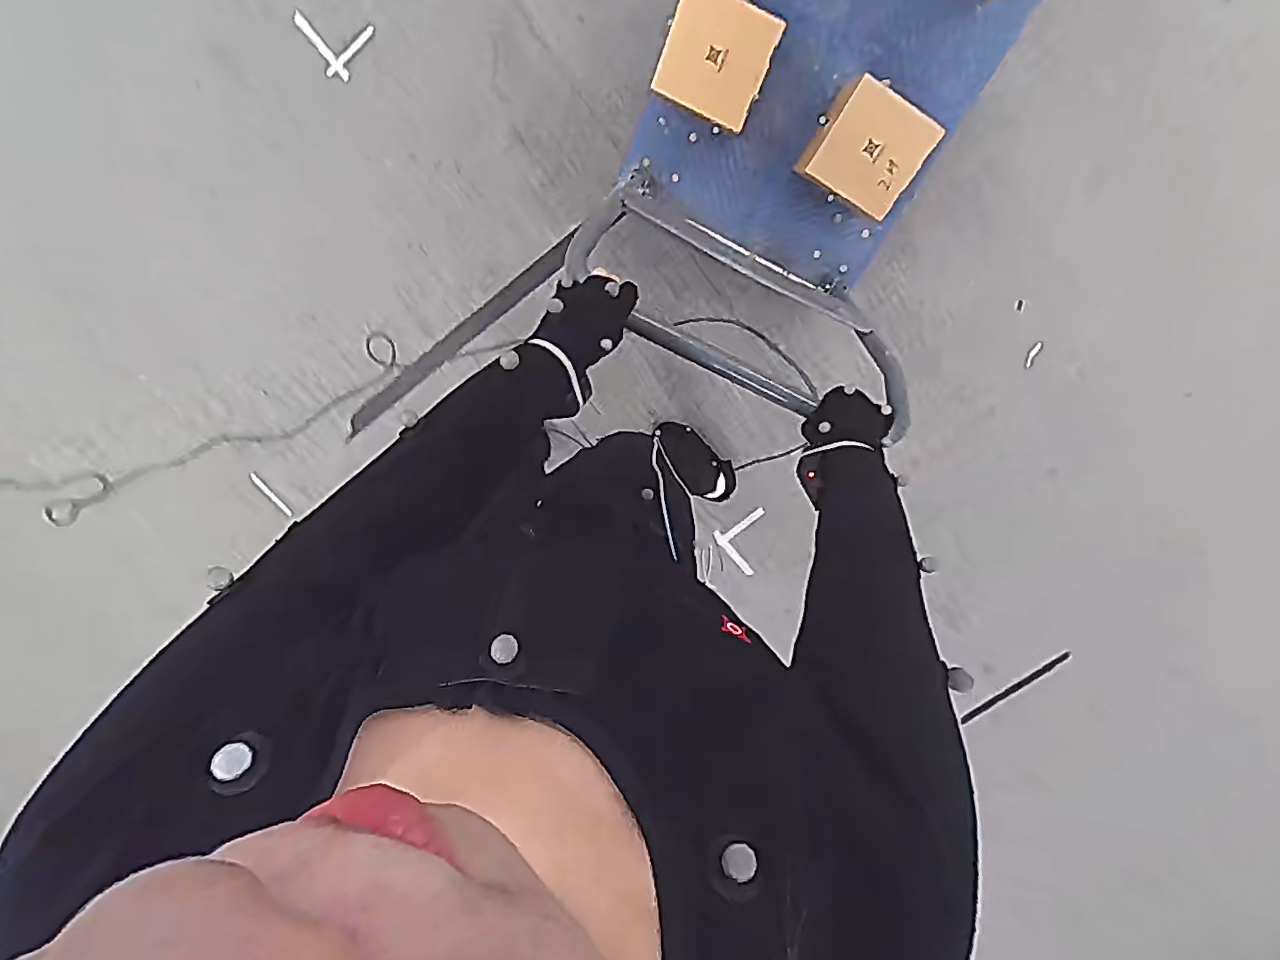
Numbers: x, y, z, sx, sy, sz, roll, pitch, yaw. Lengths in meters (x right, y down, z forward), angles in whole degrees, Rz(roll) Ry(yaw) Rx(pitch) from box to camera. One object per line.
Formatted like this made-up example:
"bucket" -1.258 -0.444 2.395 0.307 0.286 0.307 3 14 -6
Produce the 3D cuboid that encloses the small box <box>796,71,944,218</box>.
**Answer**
"small box" 0.417 -0.622 1.019 0.179 0.176 0.168 28 120 -10

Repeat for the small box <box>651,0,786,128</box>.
"small box" 0.133 -0.756 0.972 0.179 0.176 0.168 22 120 -9
